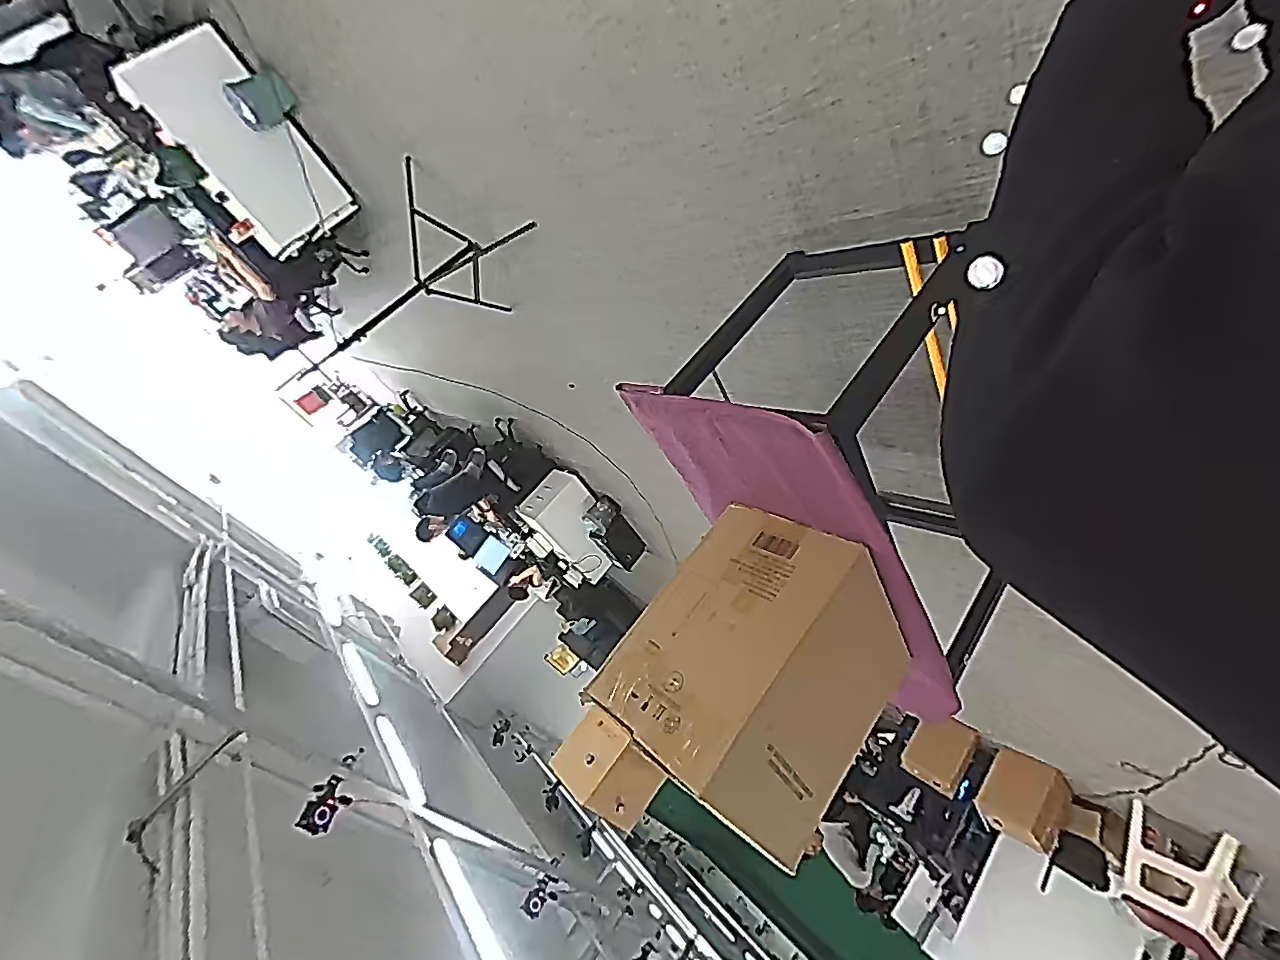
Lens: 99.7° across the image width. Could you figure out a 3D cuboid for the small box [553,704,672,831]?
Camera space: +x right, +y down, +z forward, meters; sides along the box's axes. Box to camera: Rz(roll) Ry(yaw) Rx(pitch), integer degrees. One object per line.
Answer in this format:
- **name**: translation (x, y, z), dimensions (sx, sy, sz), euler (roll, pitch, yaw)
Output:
- **small box**: translation (-0.061, 0.654, 1.247), dimensions (0.168, 0.176, 0.179), euler (14, 149, 54)
